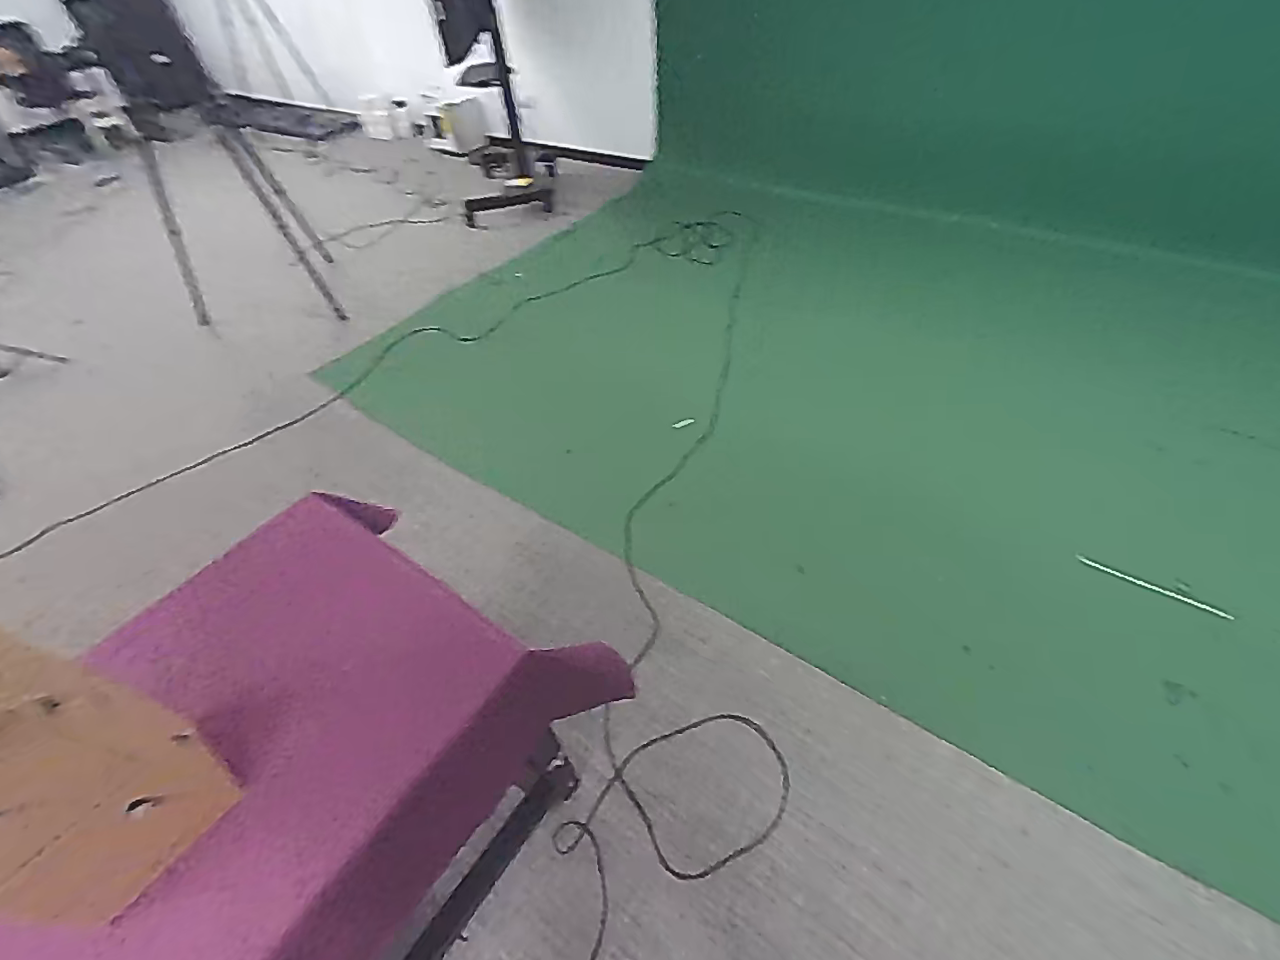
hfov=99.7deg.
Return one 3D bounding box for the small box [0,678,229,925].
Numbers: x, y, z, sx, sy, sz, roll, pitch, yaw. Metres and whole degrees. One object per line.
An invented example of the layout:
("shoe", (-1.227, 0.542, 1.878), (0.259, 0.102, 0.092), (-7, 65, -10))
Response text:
("small box", (-0.643, 0.382, 0.647), (0.168, 0.176, 0.179), (27, 55, 27))
